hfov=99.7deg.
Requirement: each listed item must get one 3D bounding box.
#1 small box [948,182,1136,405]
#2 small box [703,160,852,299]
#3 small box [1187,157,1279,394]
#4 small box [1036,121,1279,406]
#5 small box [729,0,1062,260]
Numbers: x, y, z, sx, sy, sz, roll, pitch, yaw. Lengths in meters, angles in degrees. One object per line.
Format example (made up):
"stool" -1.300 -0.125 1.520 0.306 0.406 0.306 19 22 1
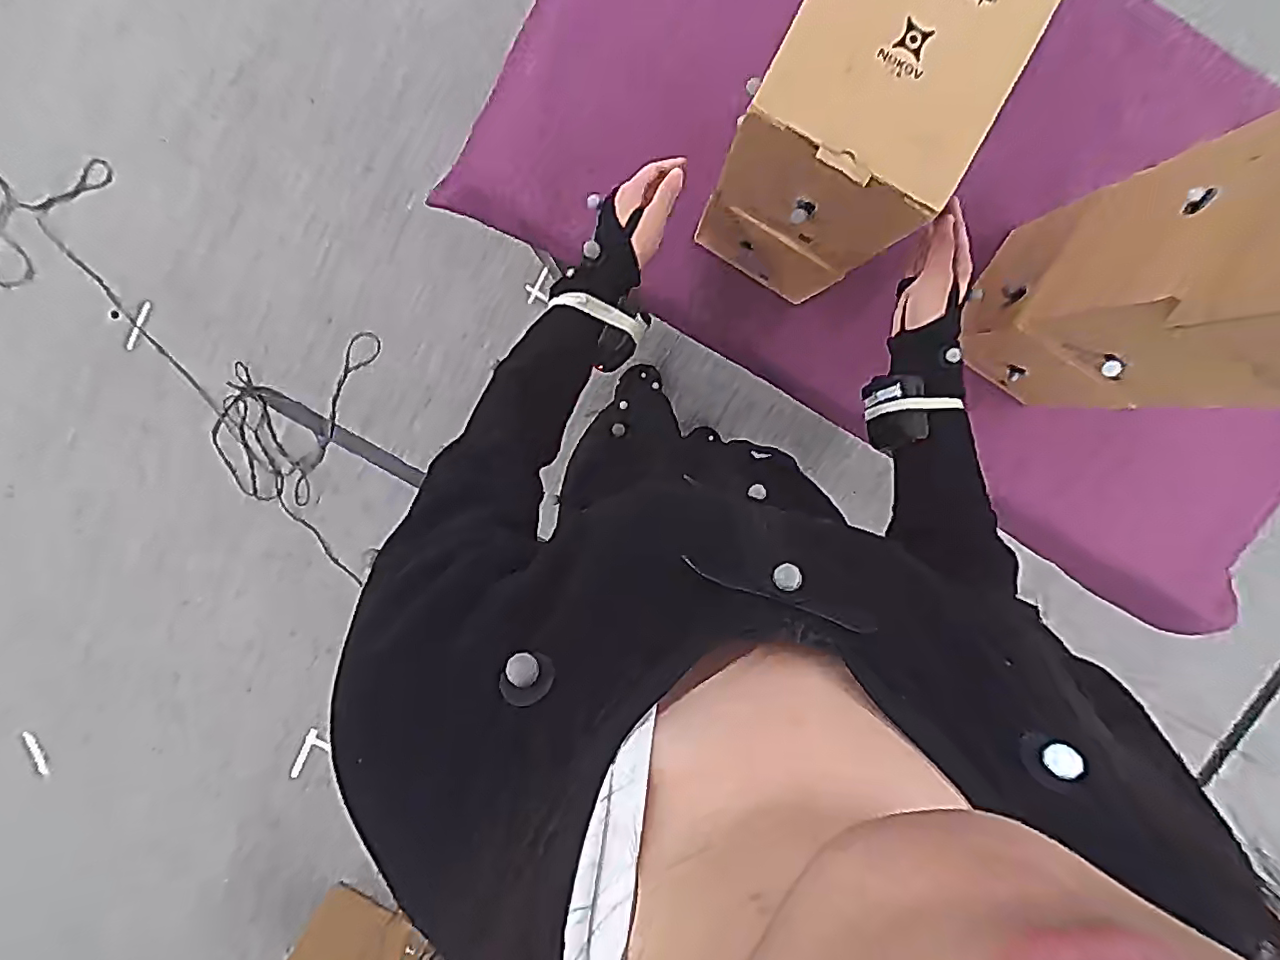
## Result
"small box" 0.516 -0.207 0.654 0.168 0.176 0.179 32 96 -6
"small box" 0.186 -0.337 0.632 0.168 0.176 0.179 30 96 -5
"small box" 0.515 -0.141 0.334 0.168 0.176 0.179 29 97 -5
"small box" 0.523 -0.184 0.492 0.168 0.176 0.179 32 97 -5
"small box" 0.191 -0.321 0.468 0.168 0.176 0.179 28 97 -5
